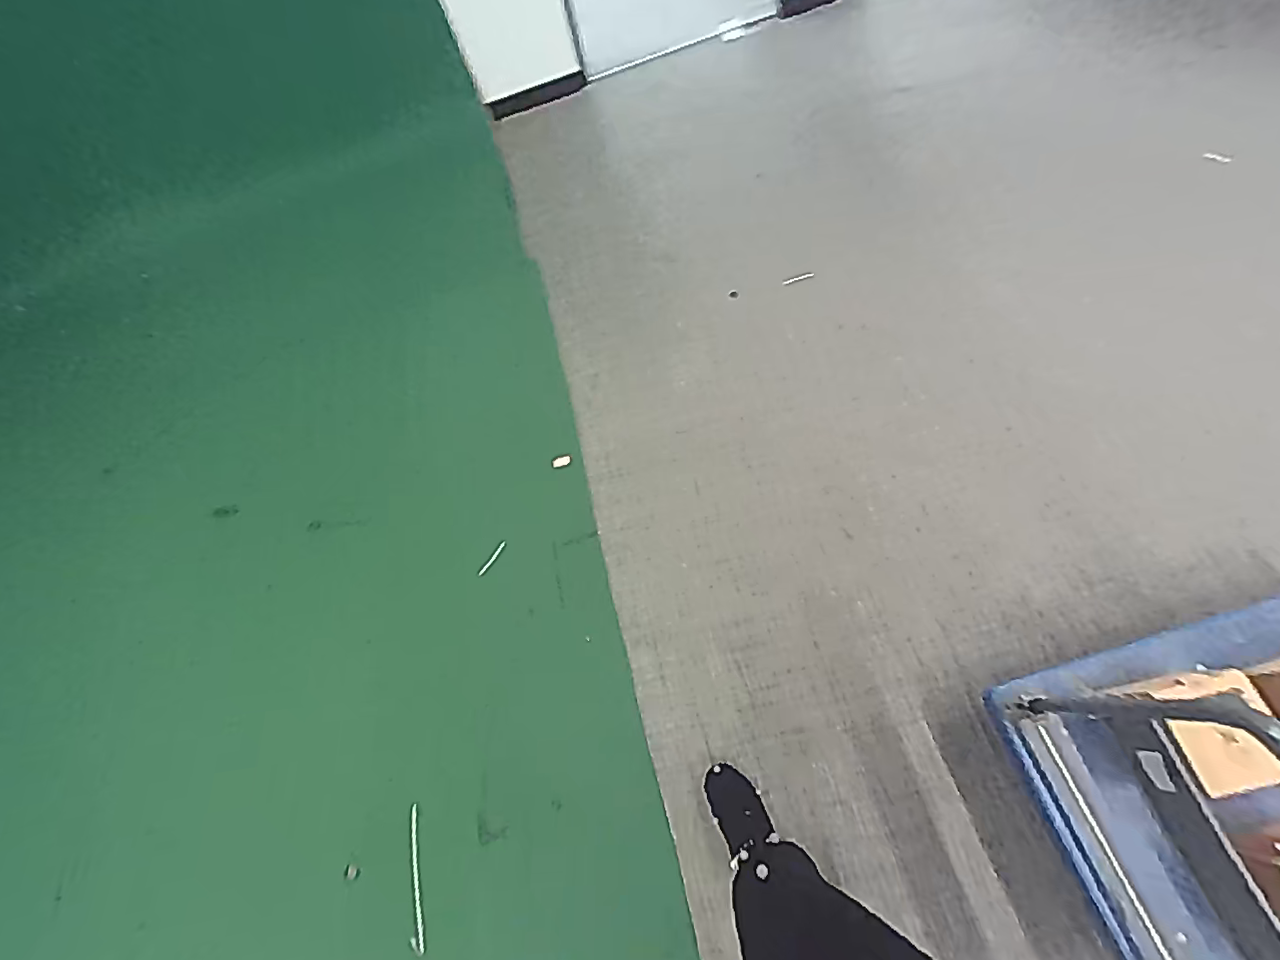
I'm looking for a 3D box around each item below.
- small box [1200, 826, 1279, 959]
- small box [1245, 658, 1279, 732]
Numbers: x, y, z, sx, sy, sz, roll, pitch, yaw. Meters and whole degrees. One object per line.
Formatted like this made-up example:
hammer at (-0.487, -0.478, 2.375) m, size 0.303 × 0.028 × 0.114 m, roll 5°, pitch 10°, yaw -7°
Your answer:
small box at (1.124, 0.698, 0.899) m, size 0.179 × 0.176 × 0.168 m, roll -17°, pitch 65°, yaw 4°
small box at (1.293, 0.405, 0.989) m, size 0.179 × 0.176 × 0.168 m, roll -22°, pitch 66°, yaw 1°
